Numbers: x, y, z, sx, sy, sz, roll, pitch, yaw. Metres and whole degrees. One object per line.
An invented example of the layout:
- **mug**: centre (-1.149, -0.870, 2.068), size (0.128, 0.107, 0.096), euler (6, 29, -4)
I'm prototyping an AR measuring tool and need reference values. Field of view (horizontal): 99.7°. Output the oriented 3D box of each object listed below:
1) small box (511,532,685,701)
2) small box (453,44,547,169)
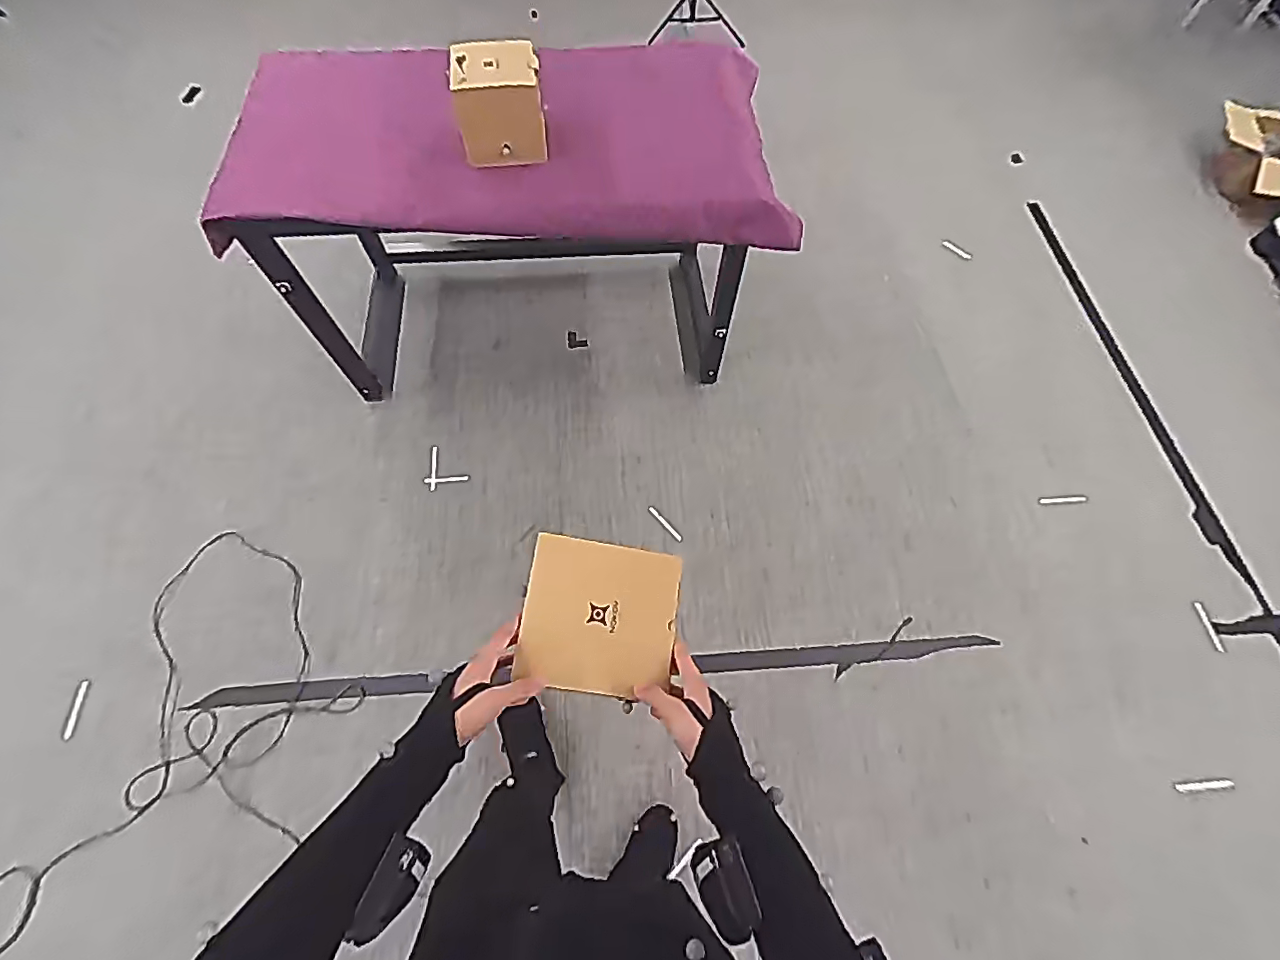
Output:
- **small box**: centre (-0.056, 0.177, 0.675), size (0.179, 0.176, 0.168), euler (11, 68, -9)
- **small box**: centre (-0.298, -0.812, 1.184), size (0.179, 0.176, 0.168), euler (-6, 64, -5)
